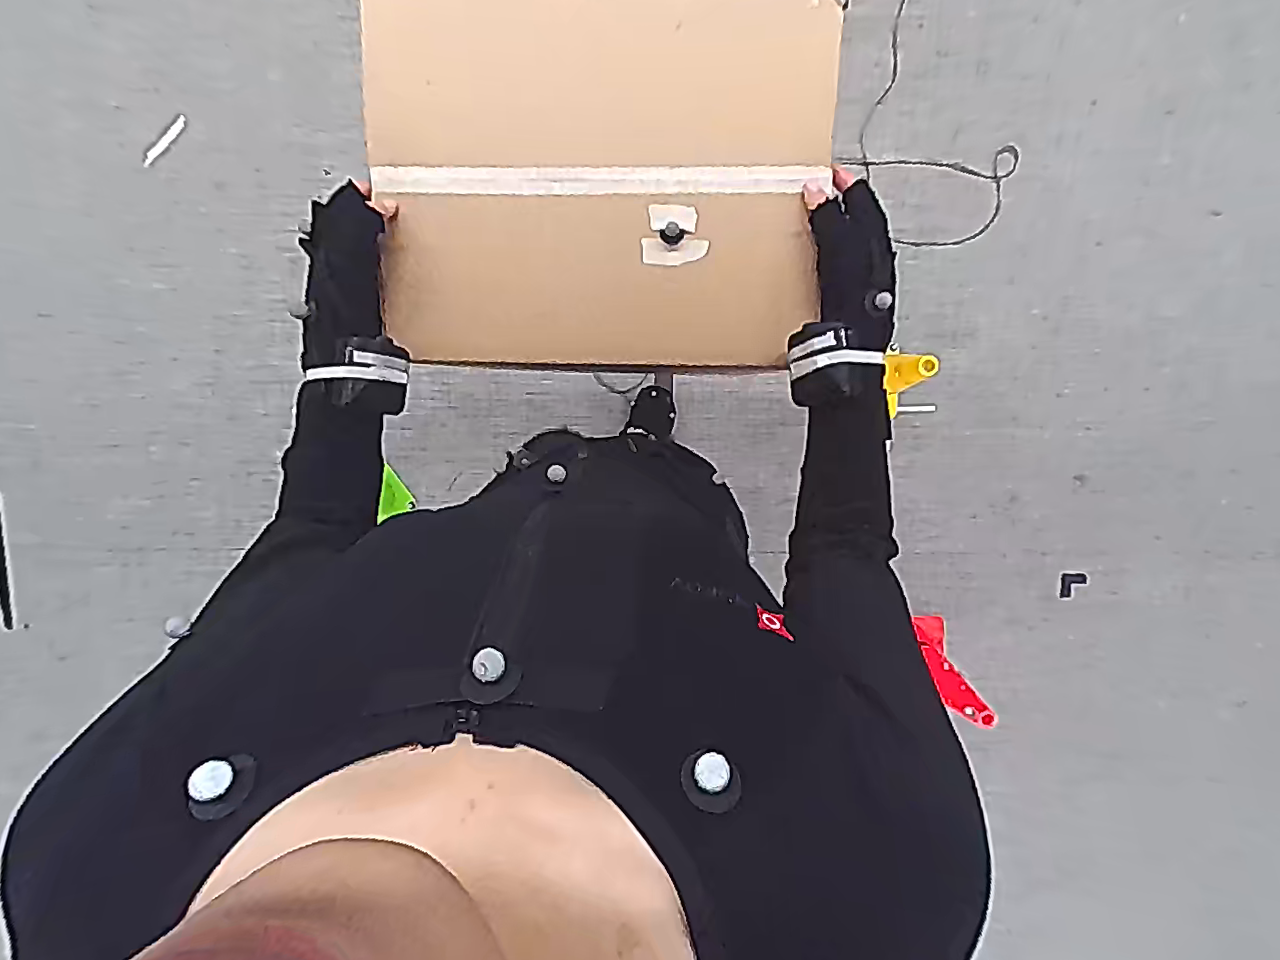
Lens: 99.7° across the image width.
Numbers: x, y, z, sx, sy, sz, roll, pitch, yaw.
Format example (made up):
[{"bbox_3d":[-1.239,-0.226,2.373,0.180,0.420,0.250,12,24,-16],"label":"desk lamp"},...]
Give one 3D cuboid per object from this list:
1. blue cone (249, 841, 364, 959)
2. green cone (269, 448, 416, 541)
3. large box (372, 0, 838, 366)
[{"bbox_3d":[-0.912,1.169,1.428,0.192,0.380,0.193,4,95,2],"label":"blue cone"},{"bbox_3d":[-0.743,0.057,1.302,0.202,0.368,0.200,-37,93,6],"label":"green cone"},{"bbox_3d":[-0.030,-0.298,0.626,0.408,0.320,0.320,1,101,1],"label":"large box"}]
